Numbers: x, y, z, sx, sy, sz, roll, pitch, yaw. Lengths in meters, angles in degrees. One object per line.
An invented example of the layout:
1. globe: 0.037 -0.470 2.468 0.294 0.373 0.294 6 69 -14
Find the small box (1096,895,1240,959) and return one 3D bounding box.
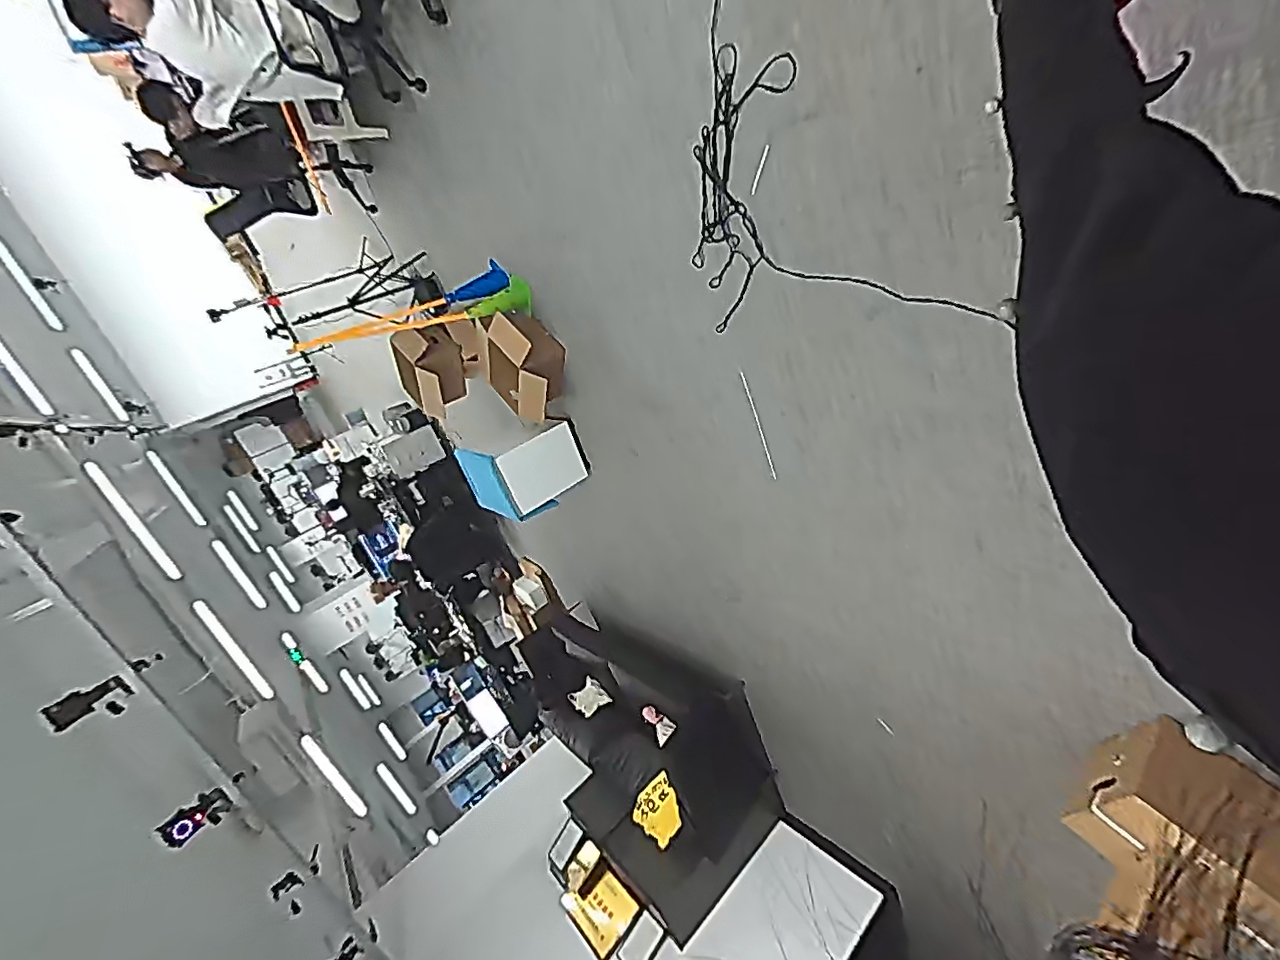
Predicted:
1. small box: 1.229 1.117 1.252 0.179 0.176 0.168 39 147 31
